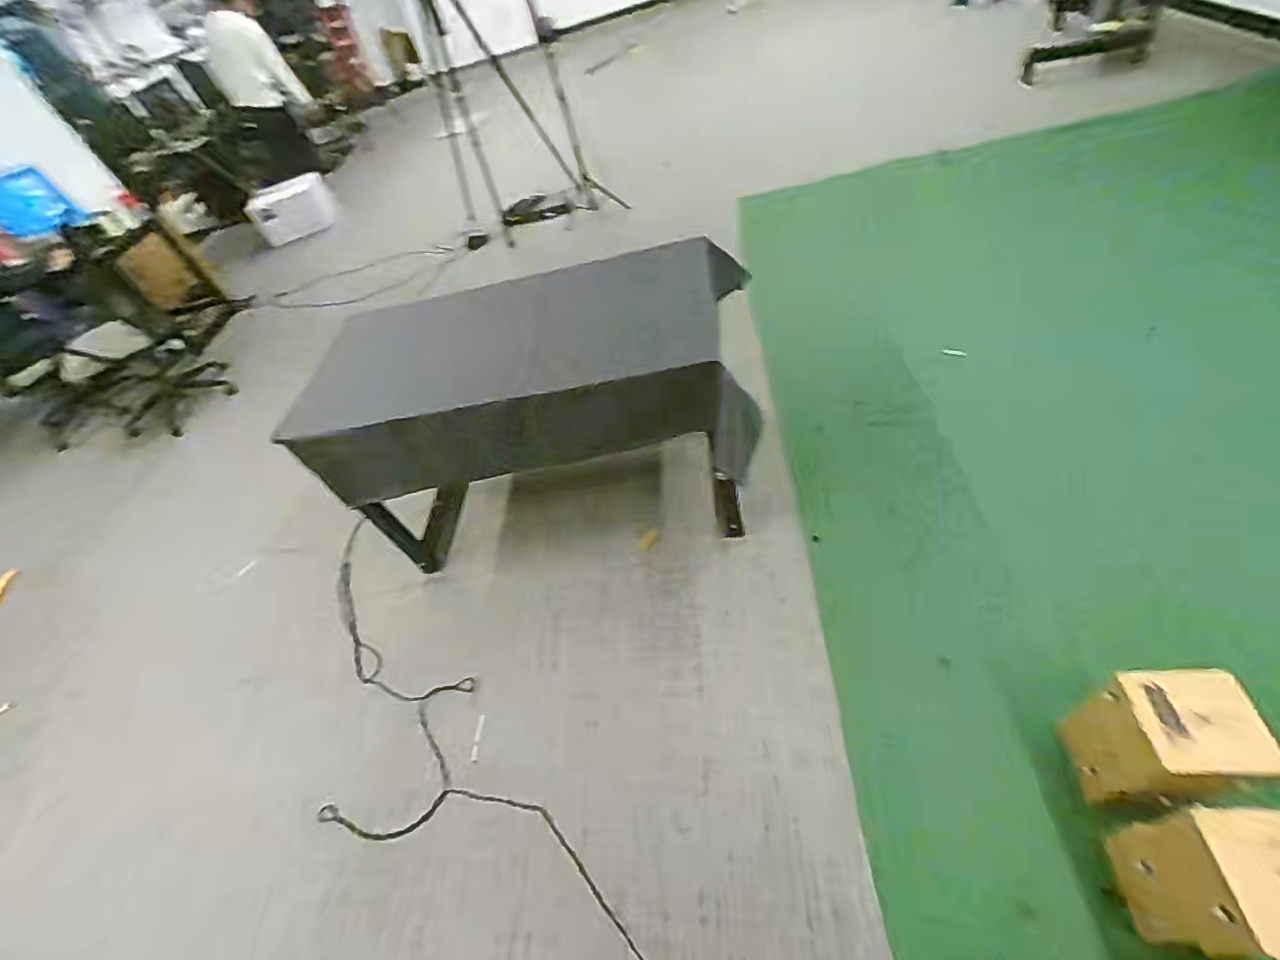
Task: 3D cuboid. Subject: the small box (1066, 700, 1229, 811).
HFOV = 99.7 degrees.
[{"bbox_3d":[1.014,0.565,1.107,0.179,0.176,0.168,-4,49,15],"label":"small box"}]
